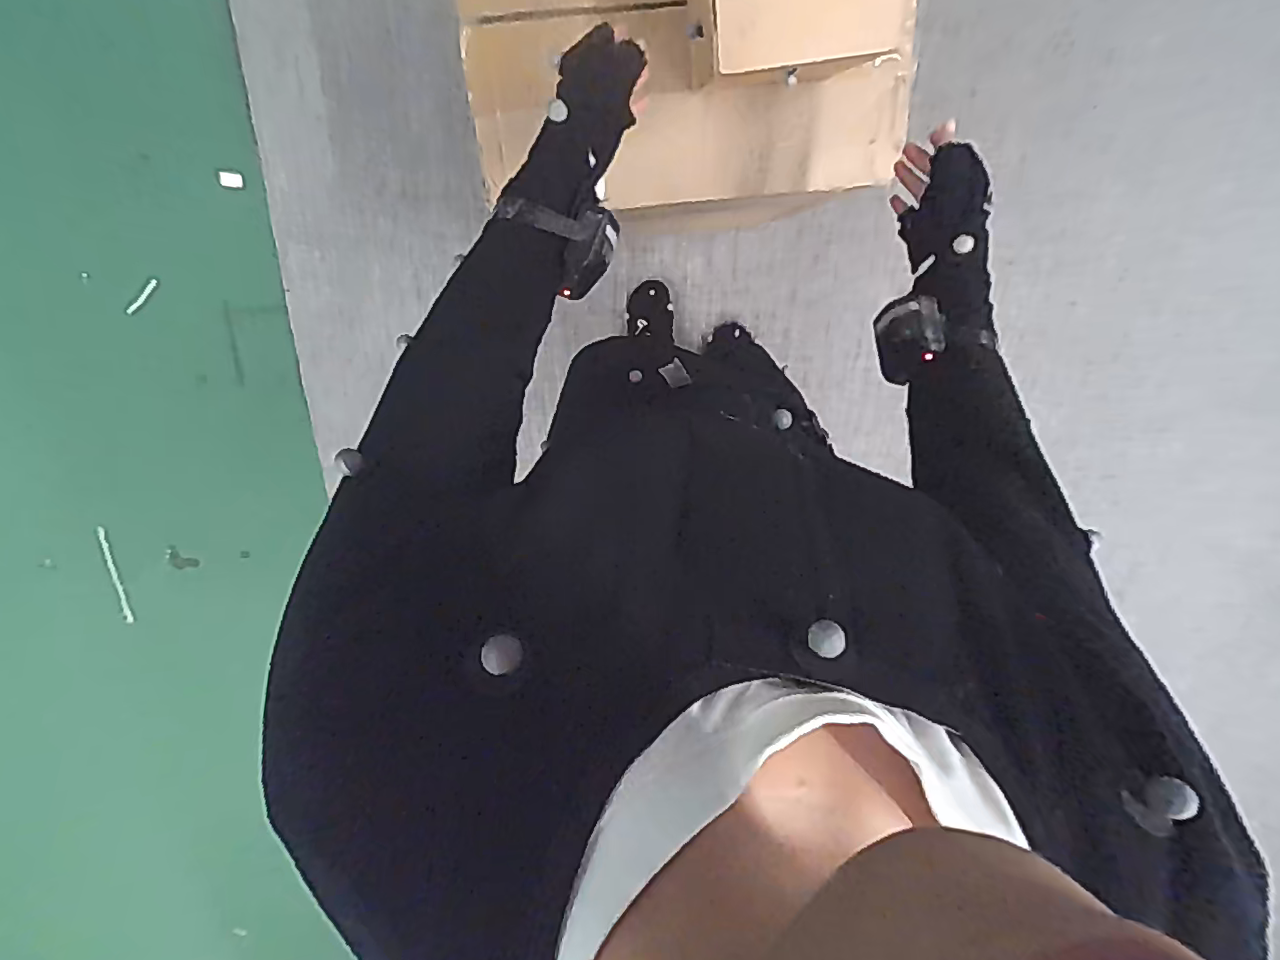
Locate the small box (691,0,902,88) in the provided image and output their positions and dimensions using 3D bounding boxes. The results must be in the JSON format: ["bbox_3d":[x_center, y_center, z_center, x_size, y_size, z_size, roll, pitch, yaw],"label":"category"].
[{"bbox_3d":[0.142,-0.507,0.537,0.179,0.176,0.168,-8,121,1],"label":"small box"}]
